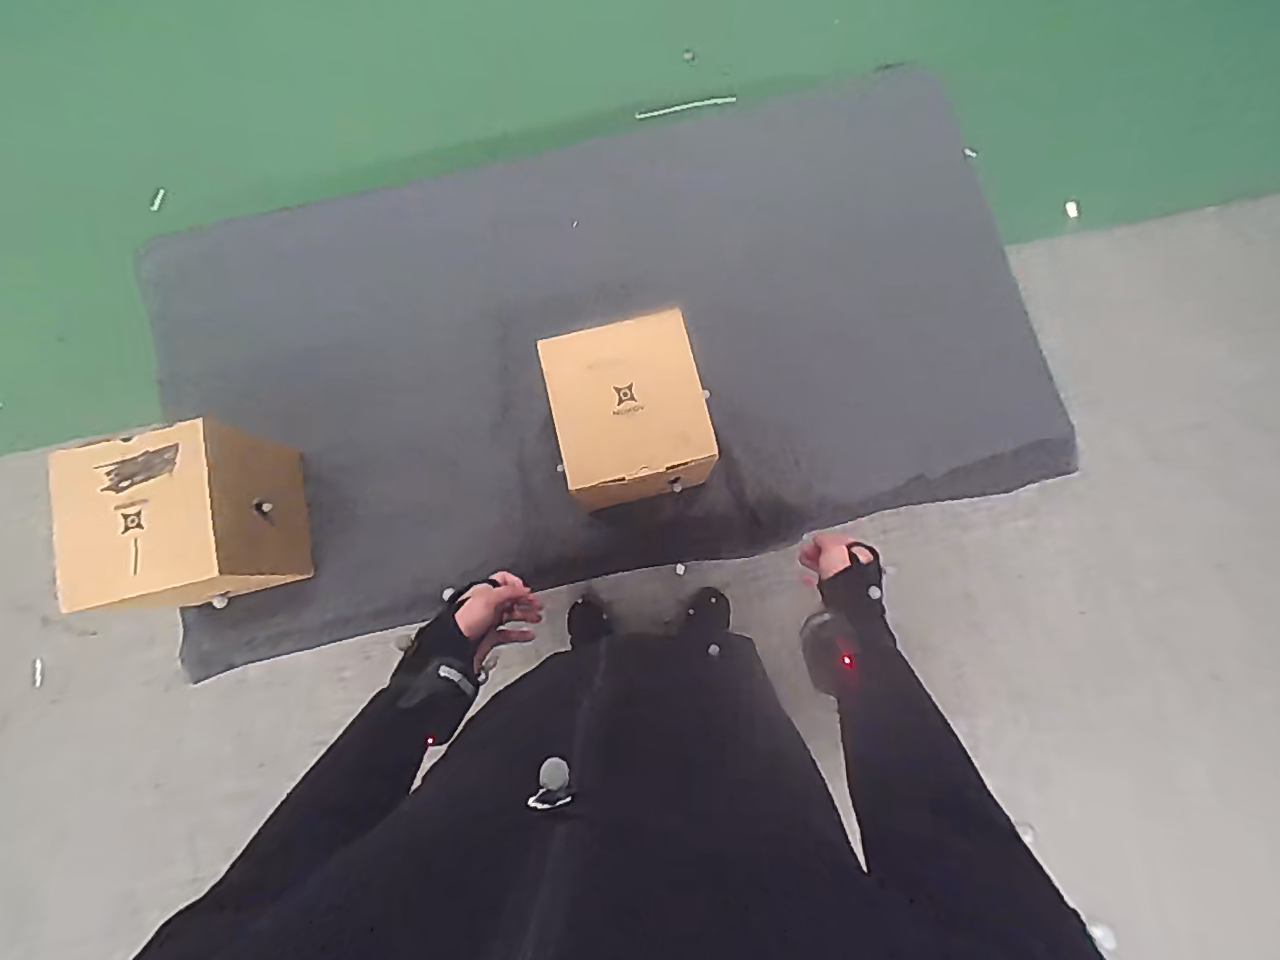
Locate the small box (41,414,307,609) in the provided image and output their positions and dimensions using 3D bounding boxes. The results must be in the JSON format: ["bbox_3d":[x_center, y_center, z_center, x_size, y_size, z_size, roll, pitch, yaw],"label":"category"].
[{"bbox_3d":[-0.525,0.044,0.631,0.168,0.176,0.179,-13,80,-2],"label":"small box"}]

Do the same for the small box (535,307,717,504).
[{"bbox_3d":[-0.016,-0.075,0.653,0.168,0.176,0.179,-14,78,-3],"label":"small box"}]
